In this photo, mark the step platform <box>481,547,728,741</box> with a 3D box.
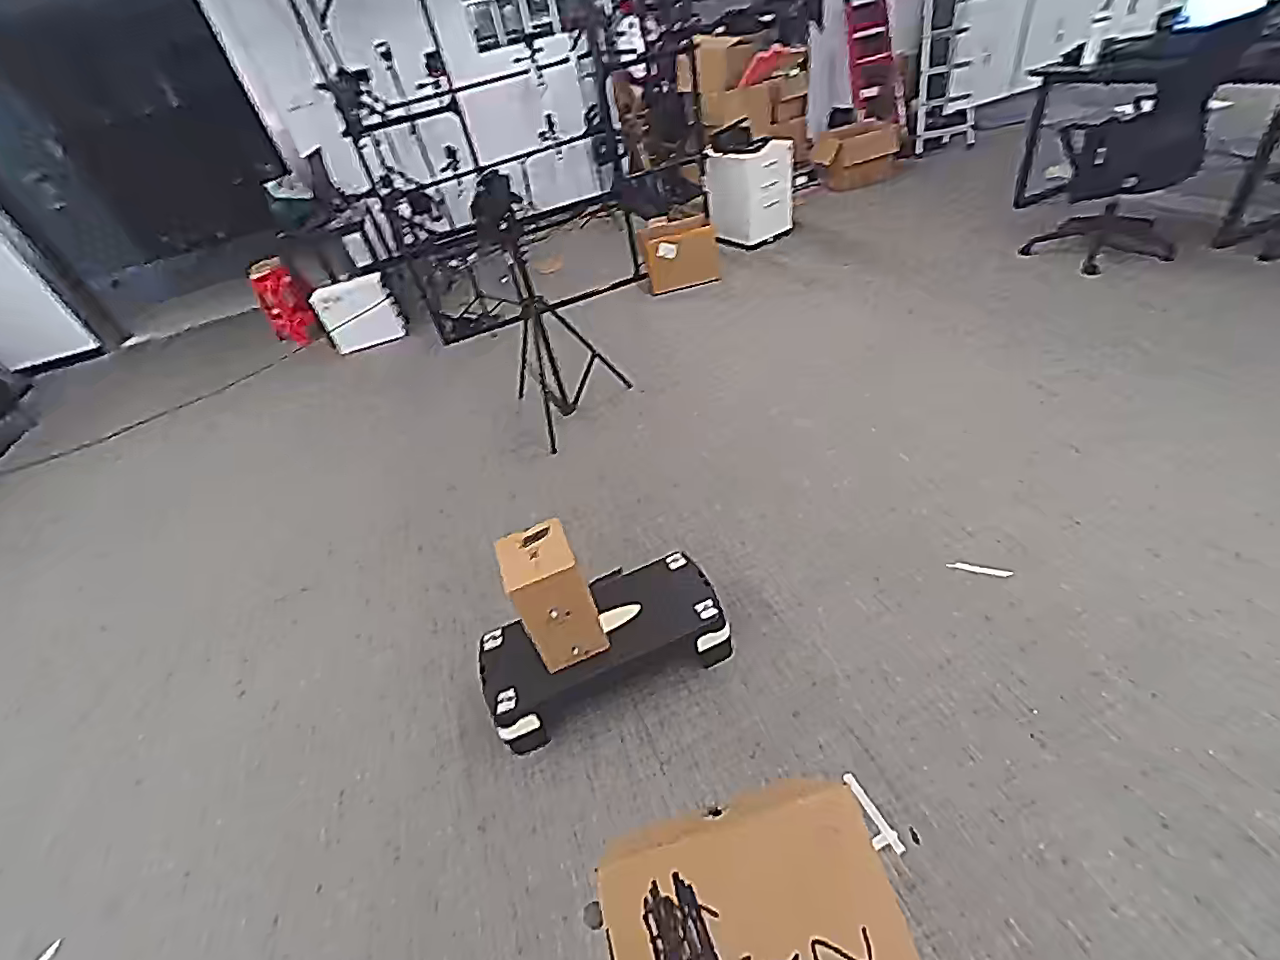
[{"bbox_3d":[-0.100,0.450,1.549,0.684,0.204,0.286,-23,40,-10],"label":"step platform"}]

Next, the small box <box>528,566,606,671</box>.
[{"bbox_3d":[-0.202,0.360,1.411,0.168,0.176,0.179,-21,40,-8],"label":"small box"}]

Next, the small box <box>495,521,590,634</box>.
[{"bbox_3d":[-0.235,0.236,1.309,0.168,0.176,0.179,-22,40,-9],"label":"small box"}]
